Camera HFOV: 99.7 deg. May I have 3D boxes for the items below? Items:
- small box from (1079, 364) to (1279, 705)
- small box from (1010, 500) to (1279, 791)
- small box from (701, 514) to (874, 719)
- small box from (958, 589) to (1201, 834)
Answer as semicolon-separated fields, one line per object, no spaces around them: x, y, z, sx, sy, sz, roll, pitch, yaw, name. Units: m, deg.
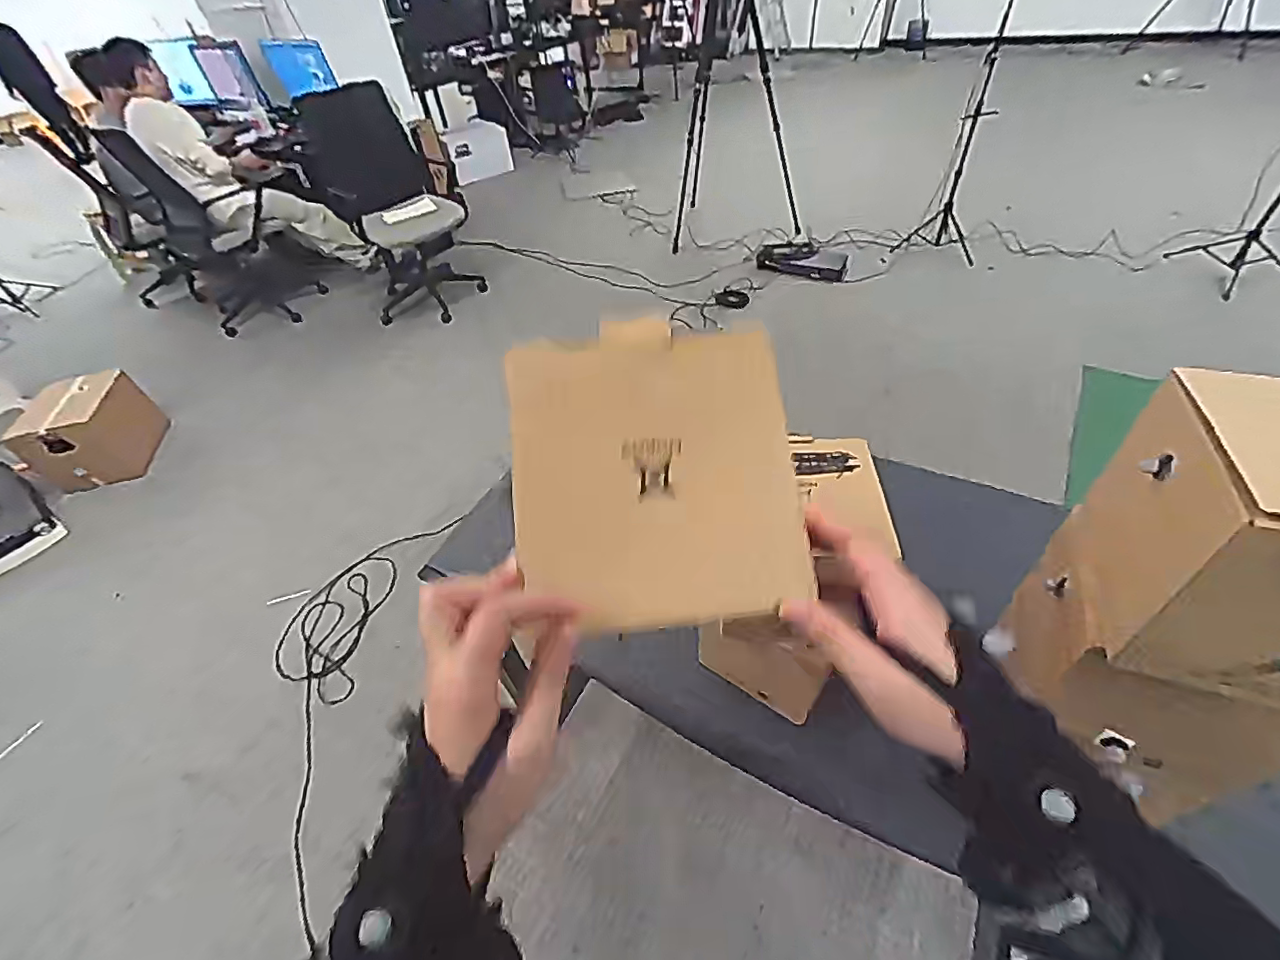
0.459;0.040;0.393;0.168;0.176;0.179;11;46;20;small box
0.475;0.153;0.514;0.168;0.176;0.179;14;48;22;small box
0.194;0.186;0.747;0.168;0.176;0.179;26;52;28;small box
0.491;0.267;0.628;0.168;0.176;0.179;18;48;24;small box
